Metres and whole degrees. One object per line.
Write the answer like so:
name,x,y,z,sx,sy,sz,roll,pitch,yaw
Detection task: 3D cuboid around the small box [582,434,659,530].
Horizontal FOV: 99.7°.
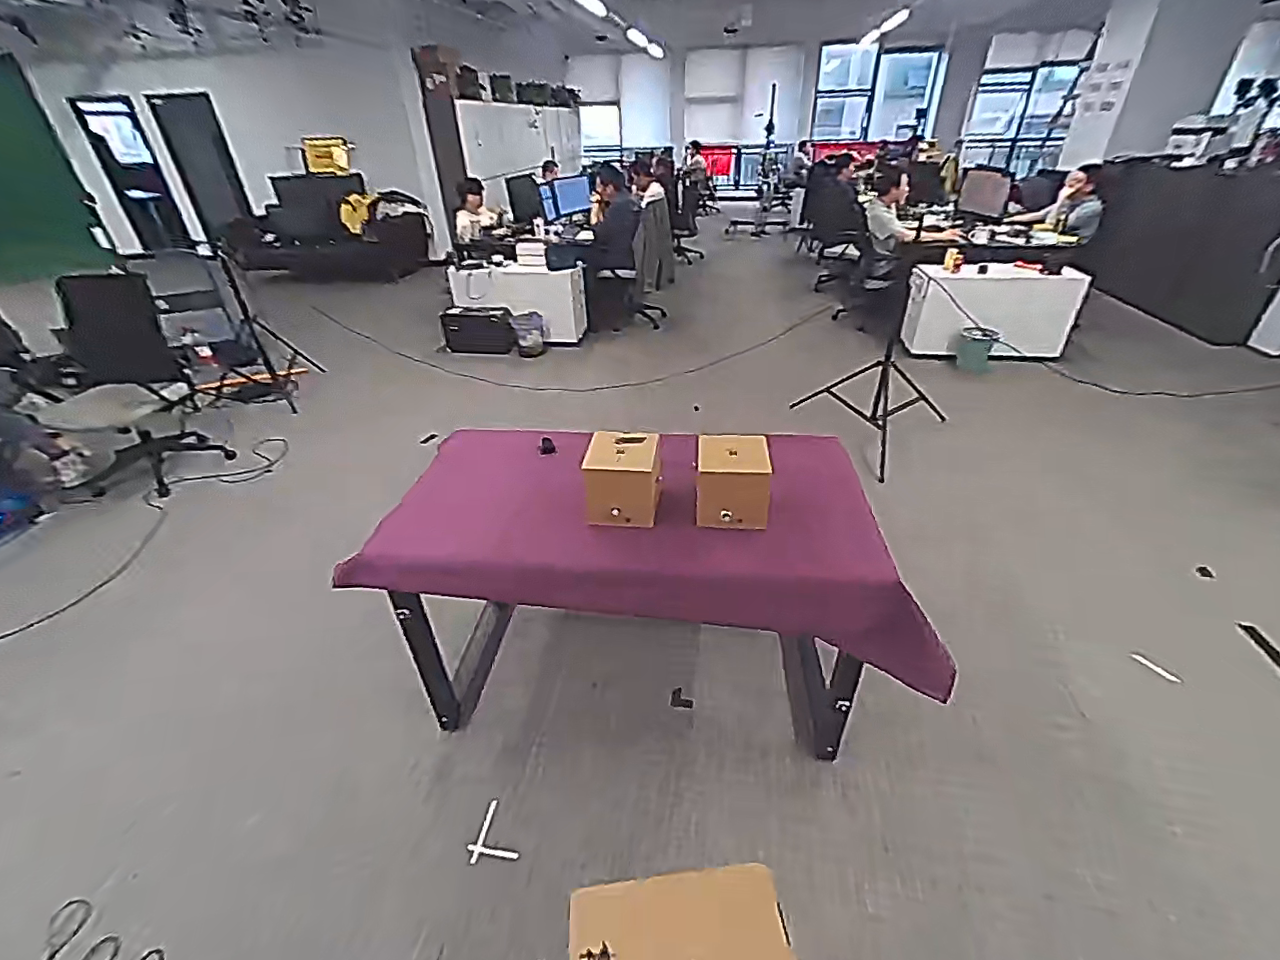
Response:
small box,-0.043,0.003,1.344,0.168,0.176,0.179,2,34,7

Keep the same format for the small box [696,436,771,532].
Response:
small box,0.223,0.007,1.327,0.168,0.176,0.179,0,34,6
